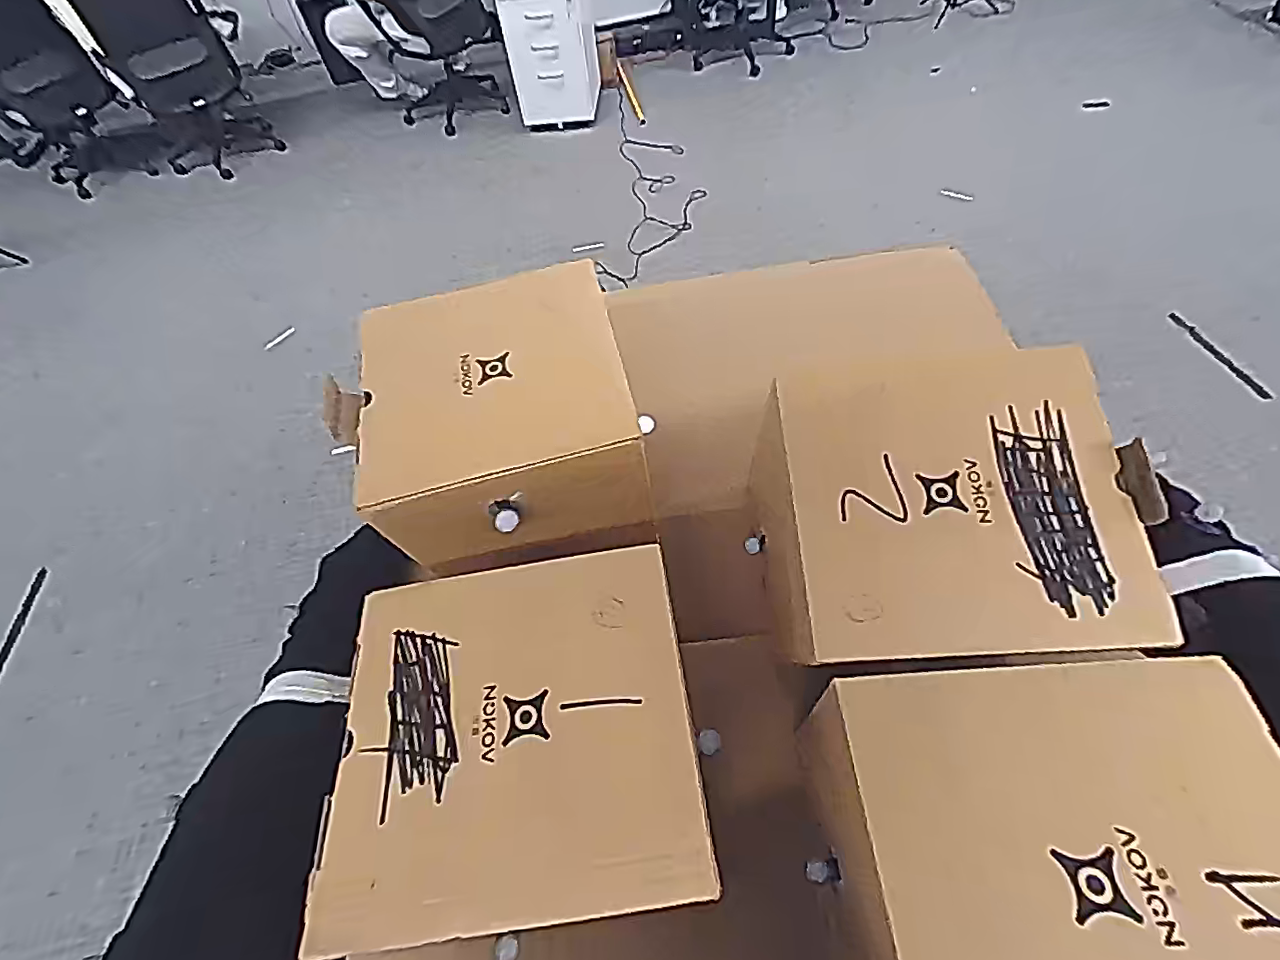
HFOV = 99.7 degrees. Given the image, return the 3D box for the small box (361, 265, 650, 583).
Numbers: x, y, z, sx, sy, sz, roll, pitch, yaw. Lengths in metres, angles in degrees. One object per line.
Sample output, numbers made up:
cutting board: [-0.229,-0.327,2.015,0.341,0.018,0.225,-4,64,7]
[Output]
small box: [-0.093,-0.035,0.436,0.179,0.176,0.168,-15,60,-1]
